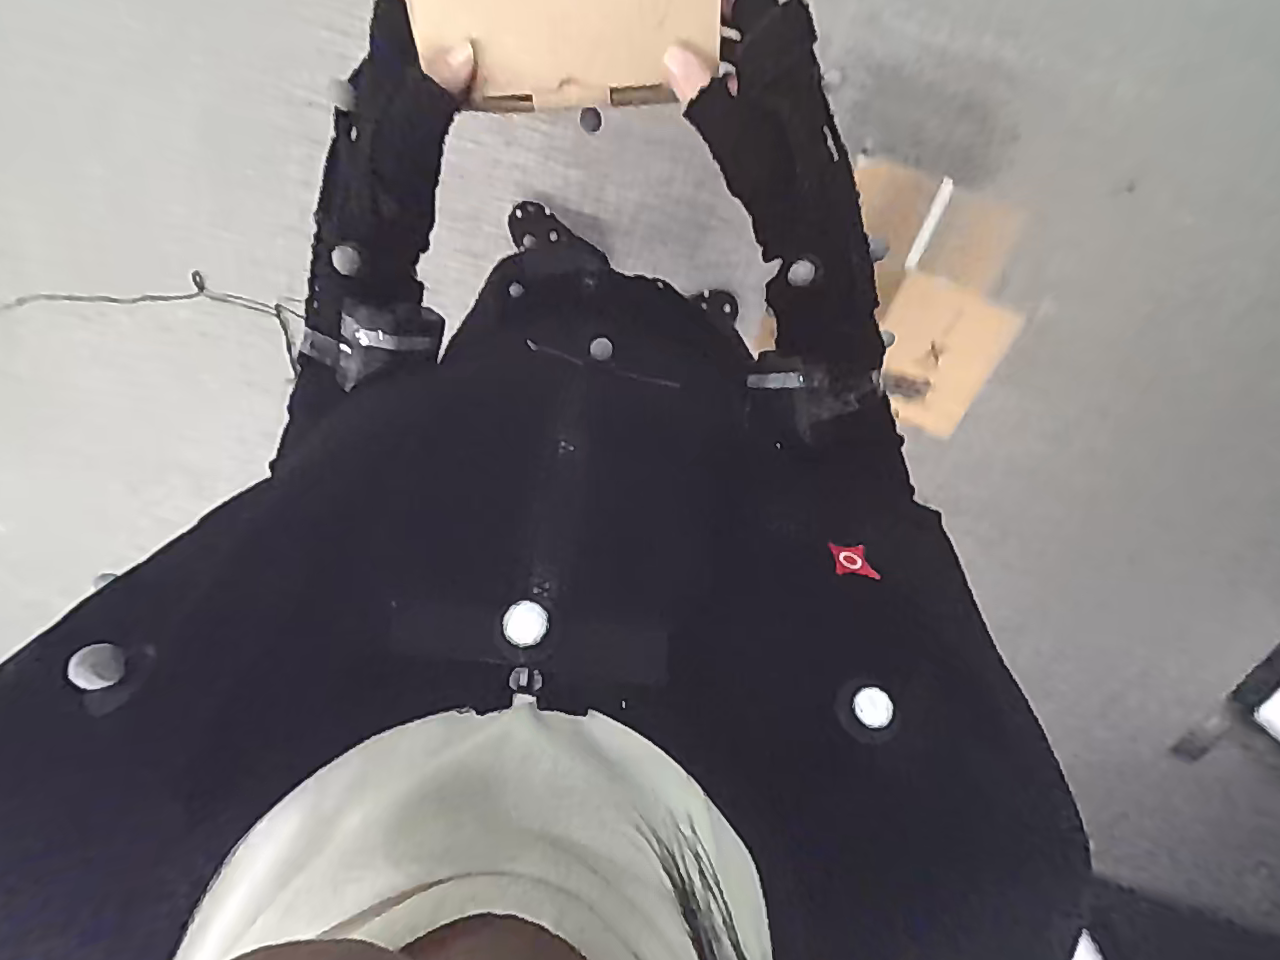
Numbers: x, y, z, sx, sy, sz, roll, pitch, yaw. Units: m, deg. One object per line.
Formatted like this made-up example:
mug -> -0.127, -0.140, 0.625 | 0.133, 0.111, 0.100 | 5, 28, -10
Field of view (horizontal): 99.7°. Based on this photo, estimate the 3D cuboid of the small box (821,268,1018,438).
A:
small box -> 0.384, -0.191, 0.787 | 0.168, 0.176, 0.179 | 22, 114, -4

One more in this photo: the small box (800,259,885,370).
small box -> 0.395, -0.264, 0.934 | 0.168, 0.176, 0.179 | 23, 117, -5
